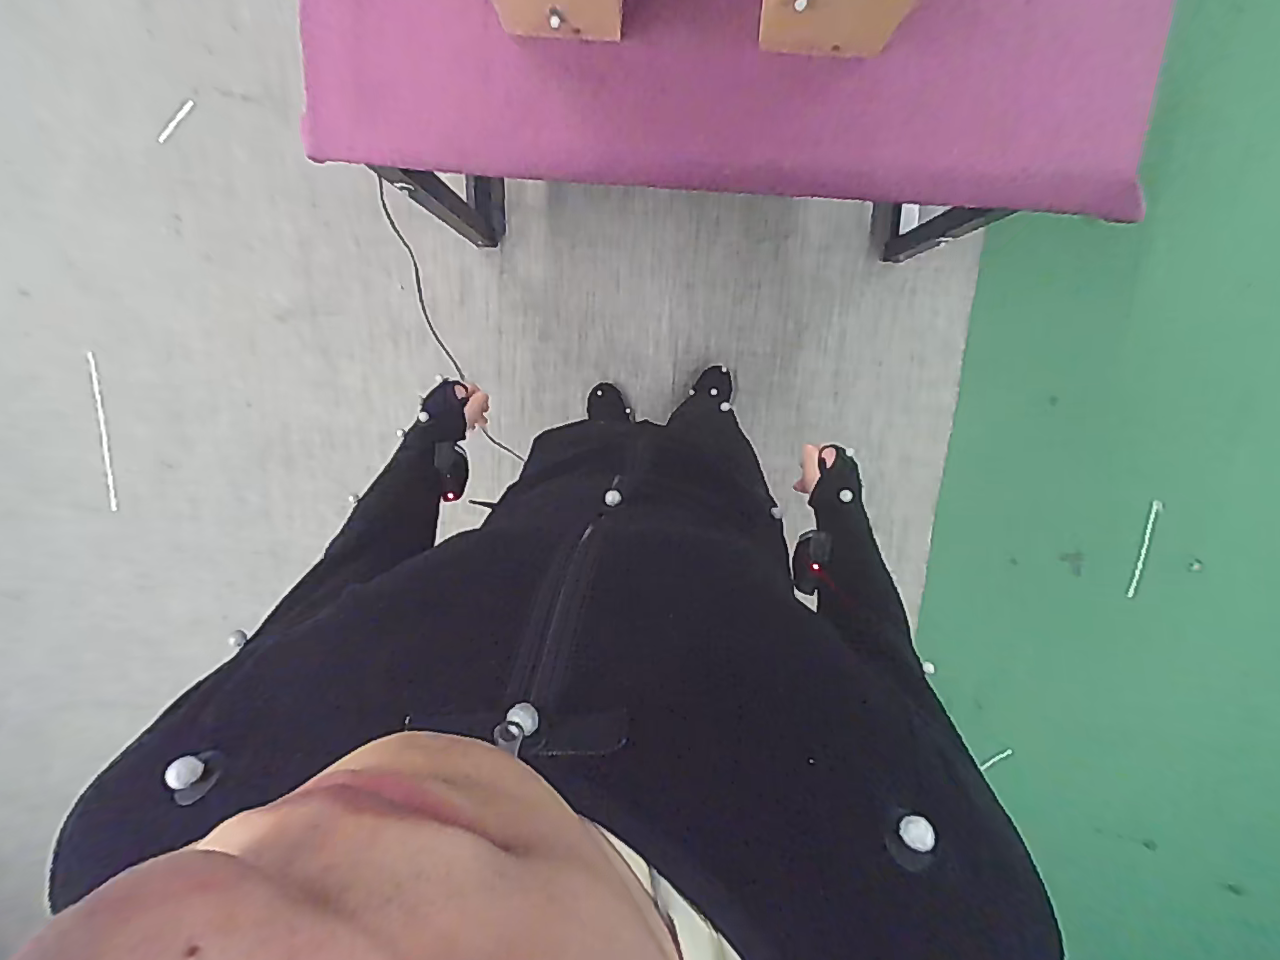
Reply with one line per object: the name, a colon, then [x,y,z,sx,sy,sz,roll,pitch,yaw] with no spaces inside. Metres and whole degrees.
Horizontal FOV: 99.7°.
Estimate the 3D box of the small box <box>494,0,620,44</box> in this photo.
small box: [-0.106,-0.685,0.659,0.168,0.176,0.179,4,101,0]
